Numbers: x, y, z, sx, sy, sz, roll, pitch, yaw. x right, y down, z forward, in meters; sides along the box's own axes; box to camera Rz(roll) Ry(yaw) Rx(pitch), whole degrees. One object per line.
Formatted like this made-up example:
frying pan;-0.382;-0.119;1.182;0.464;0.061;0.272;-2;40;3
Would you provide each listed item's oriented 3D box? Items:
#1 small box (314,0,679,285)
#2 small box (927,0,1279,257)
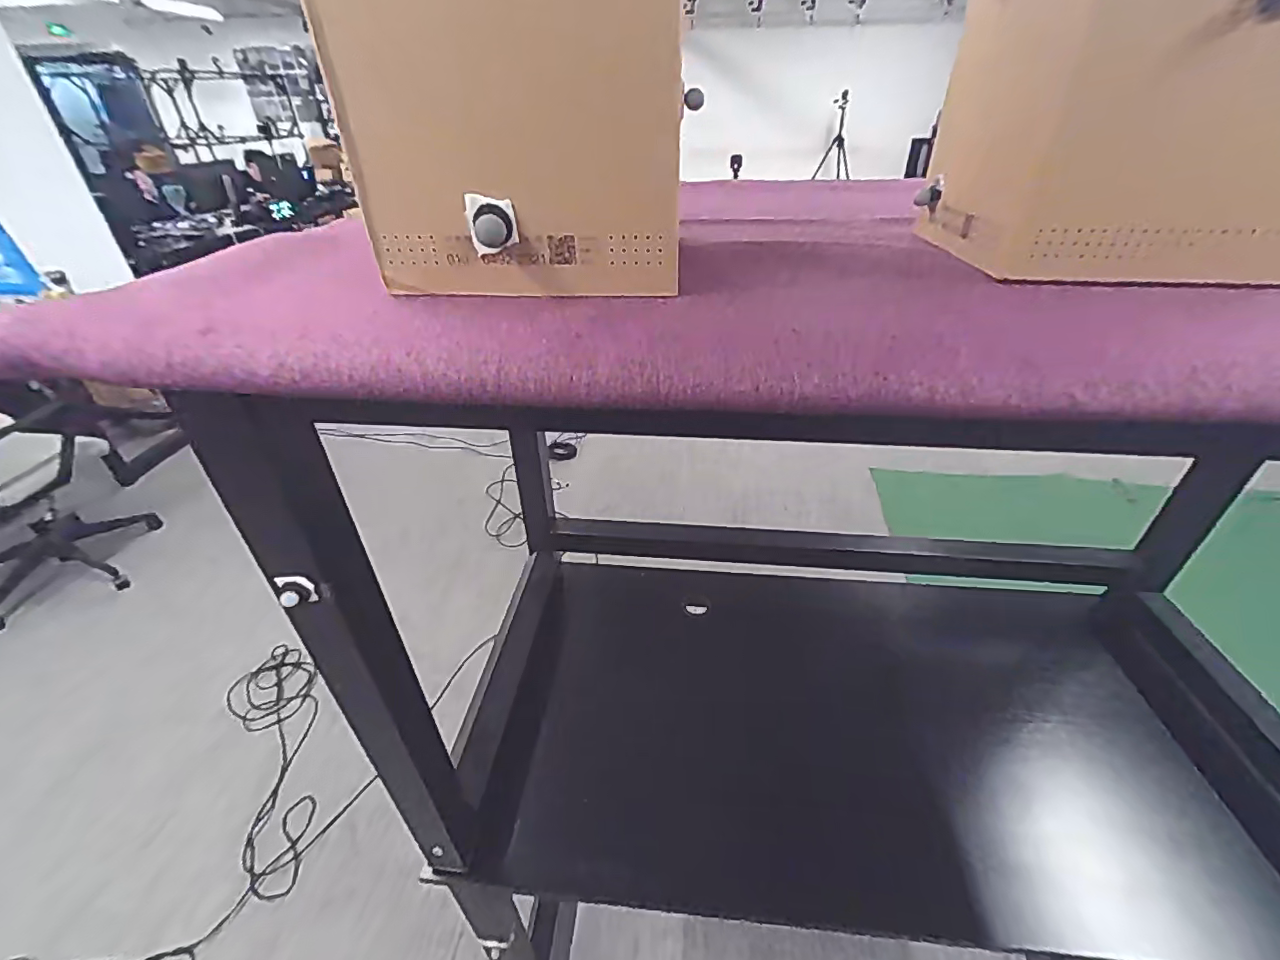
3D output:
small box;-0.062;-0.223;0.315;0.168;0.176;0.179;-1;36;3
small box;0.289;-0.231;0.311;0.179;0.176;0.168;3;34;6
